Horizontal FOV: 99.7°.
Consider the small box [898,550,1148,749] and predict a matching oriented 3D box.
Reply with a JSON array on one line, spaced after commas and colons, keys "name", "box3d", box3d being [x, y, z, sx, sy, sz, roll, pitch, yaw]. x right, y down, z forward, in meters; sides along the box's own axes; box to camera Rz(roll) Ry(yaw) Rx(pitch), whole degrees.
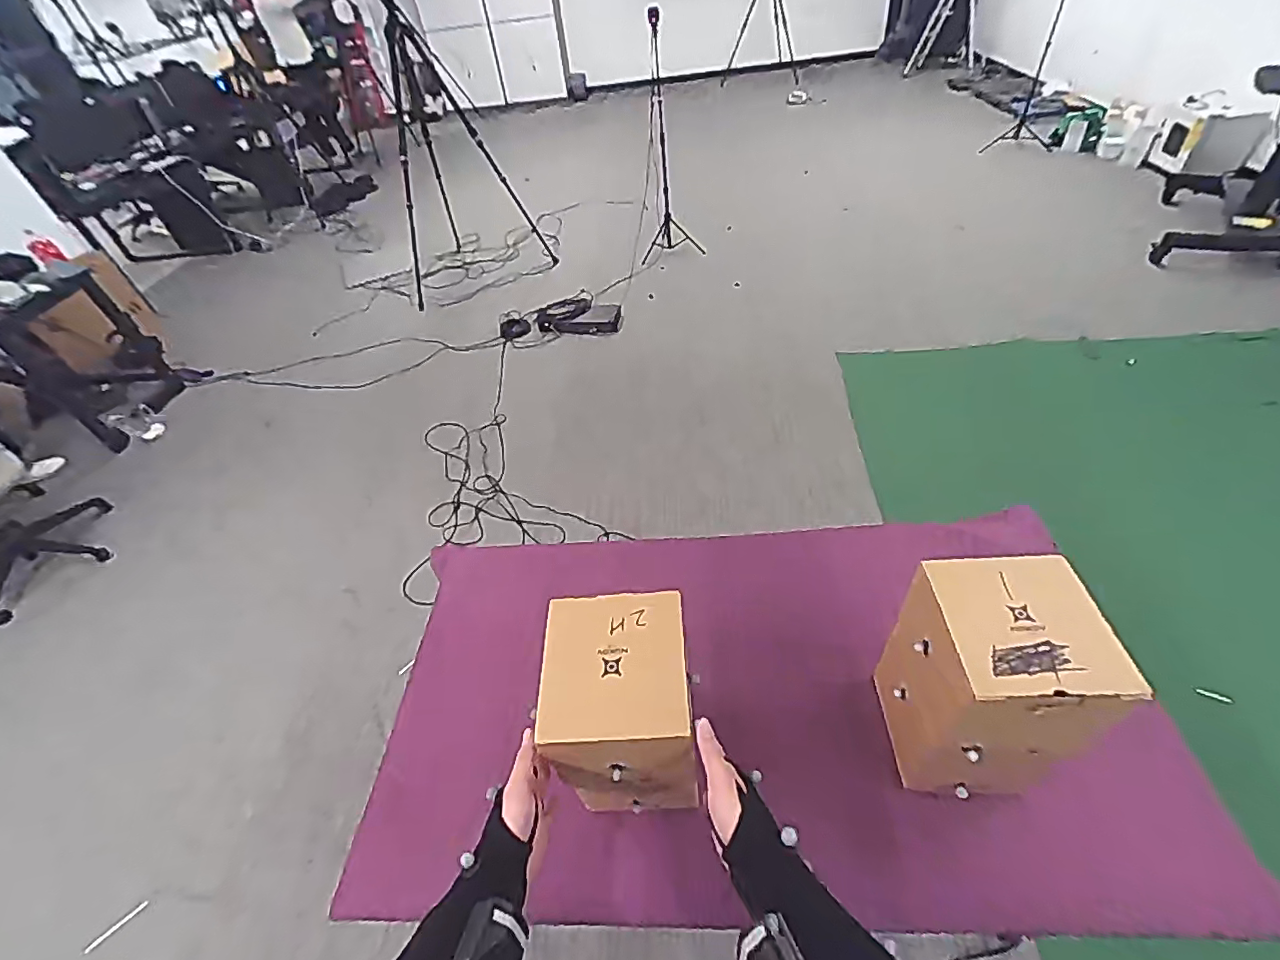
[{"name": "small box", "box3d": [0.429, 0.205, 0.647, 0.168, 0.176, 0.179, -3, 44, 8]}]

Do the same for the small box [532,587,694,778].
[{"name": "small box", "box3d": [-0.023, 0.255, 0.669, 0.168, 0.176, 0.179, -4, 46, 4]}]

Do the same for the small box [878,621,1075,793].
[{"name": "small box", "box3d": [0.451, 0.318, 0.764, 0.168, 0.176, 0.179, -3, 46, 8]}]
